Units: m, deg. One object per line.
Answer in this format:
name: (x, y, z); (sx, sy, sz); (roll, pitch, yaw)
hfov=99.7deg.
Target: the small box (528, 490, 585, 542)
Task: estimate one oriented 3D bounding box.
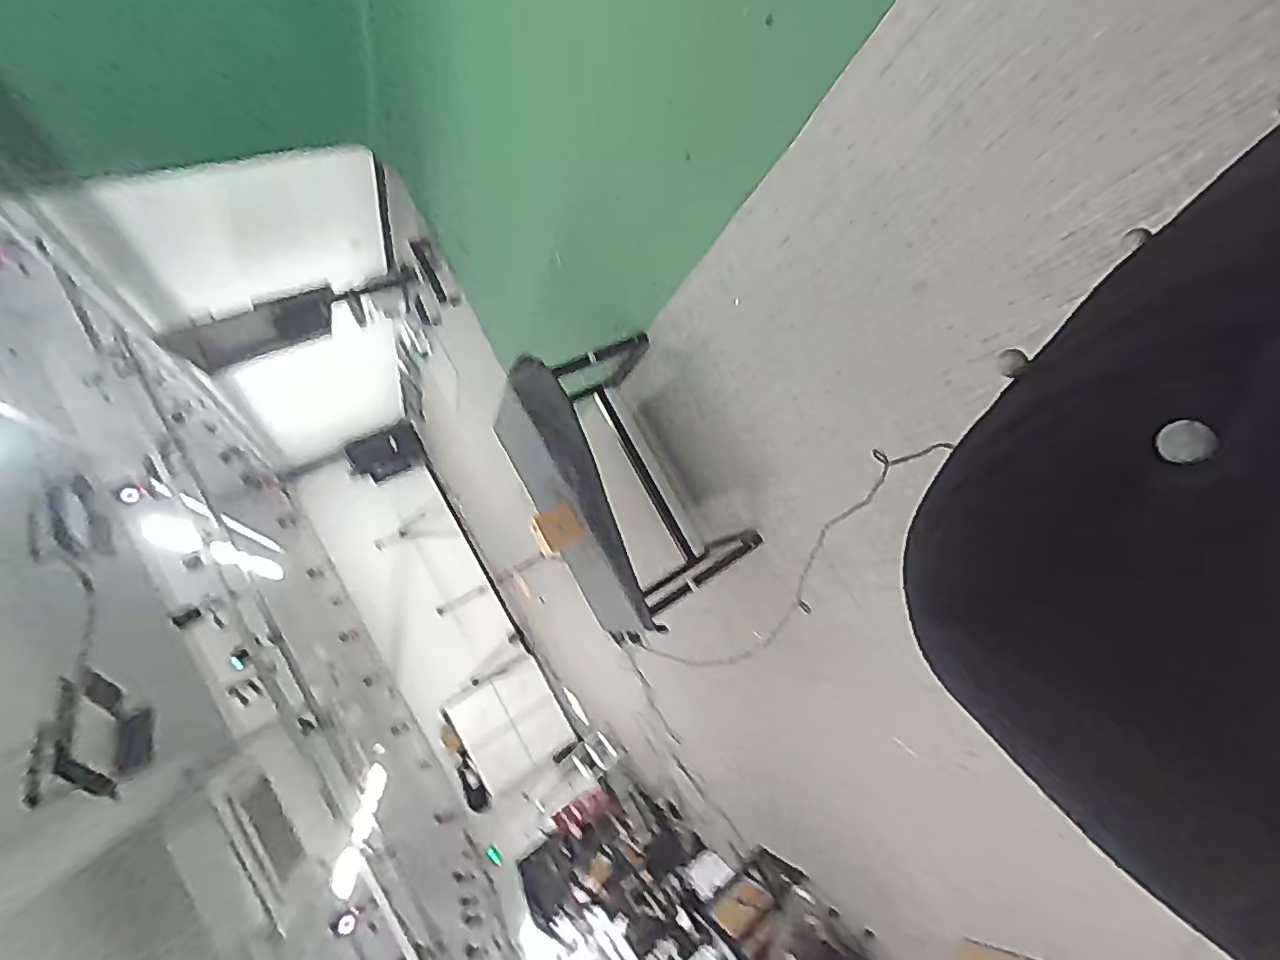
small box: (-0.370, 0.154, 2.386); (0.179, 0.176, 0.168); (62, 158, -2)
